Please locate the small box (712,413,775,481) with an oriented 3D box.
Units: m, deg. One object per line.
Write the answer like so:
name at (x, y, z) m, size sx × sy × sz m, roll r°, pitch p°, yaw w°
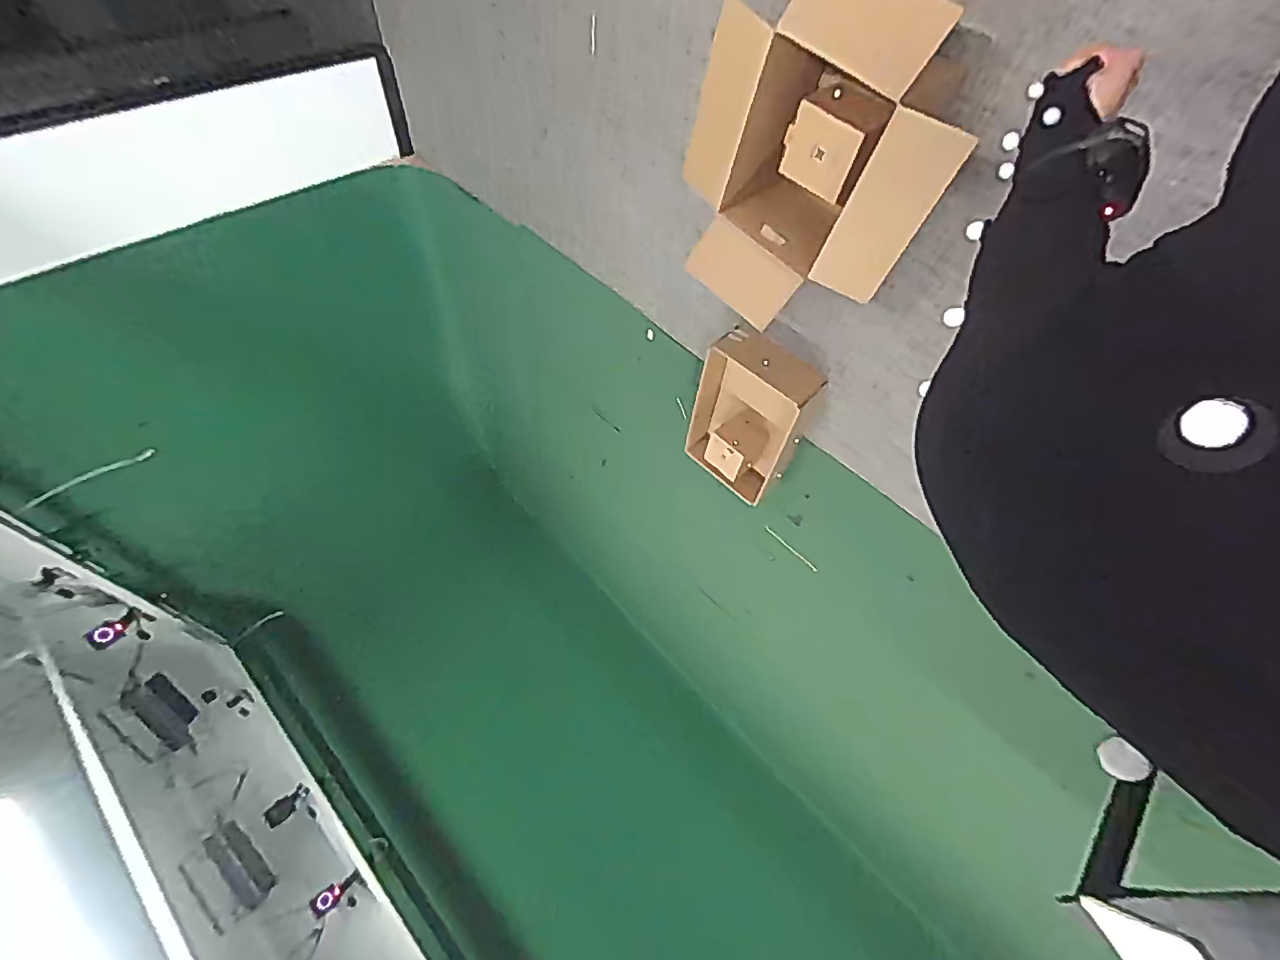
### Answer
small box at (0.417, -0.135, 2.175) m, size 0.168 × 0.176 × 0.179 m, roll 43°, pitch 151°, yaw 21°
